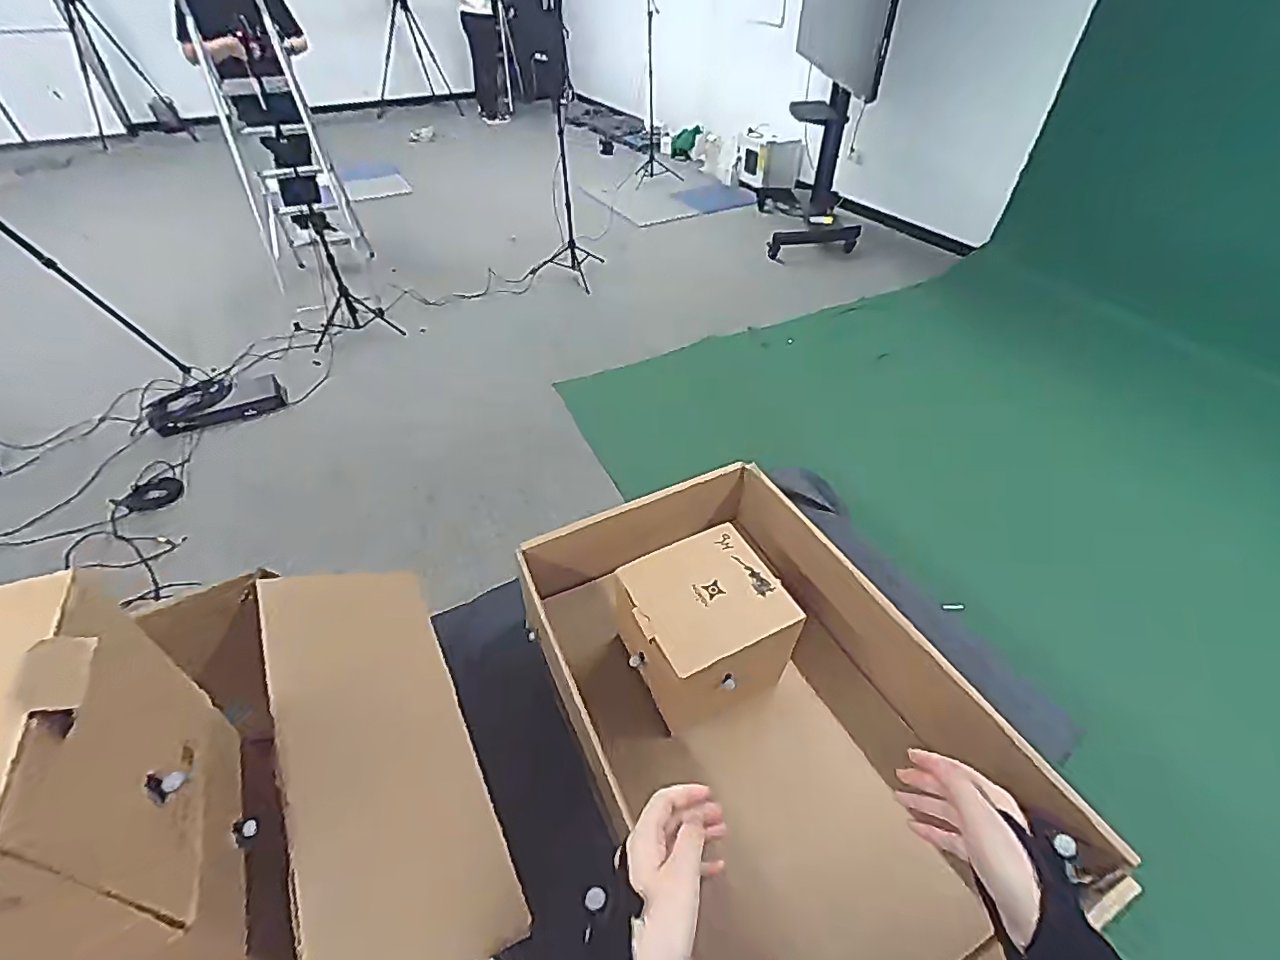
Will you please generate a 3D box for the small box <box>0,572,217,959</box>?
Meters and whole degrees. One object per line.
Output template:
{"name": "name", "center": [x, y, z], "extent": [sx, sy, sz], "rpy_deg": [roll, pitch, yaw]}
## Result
{"name": "small box", "center": [-0.378, 0.188, 0.299], "extent": [0.179, 0.176, 0.168], "rpy_deg": [-16, 45, -23]}
